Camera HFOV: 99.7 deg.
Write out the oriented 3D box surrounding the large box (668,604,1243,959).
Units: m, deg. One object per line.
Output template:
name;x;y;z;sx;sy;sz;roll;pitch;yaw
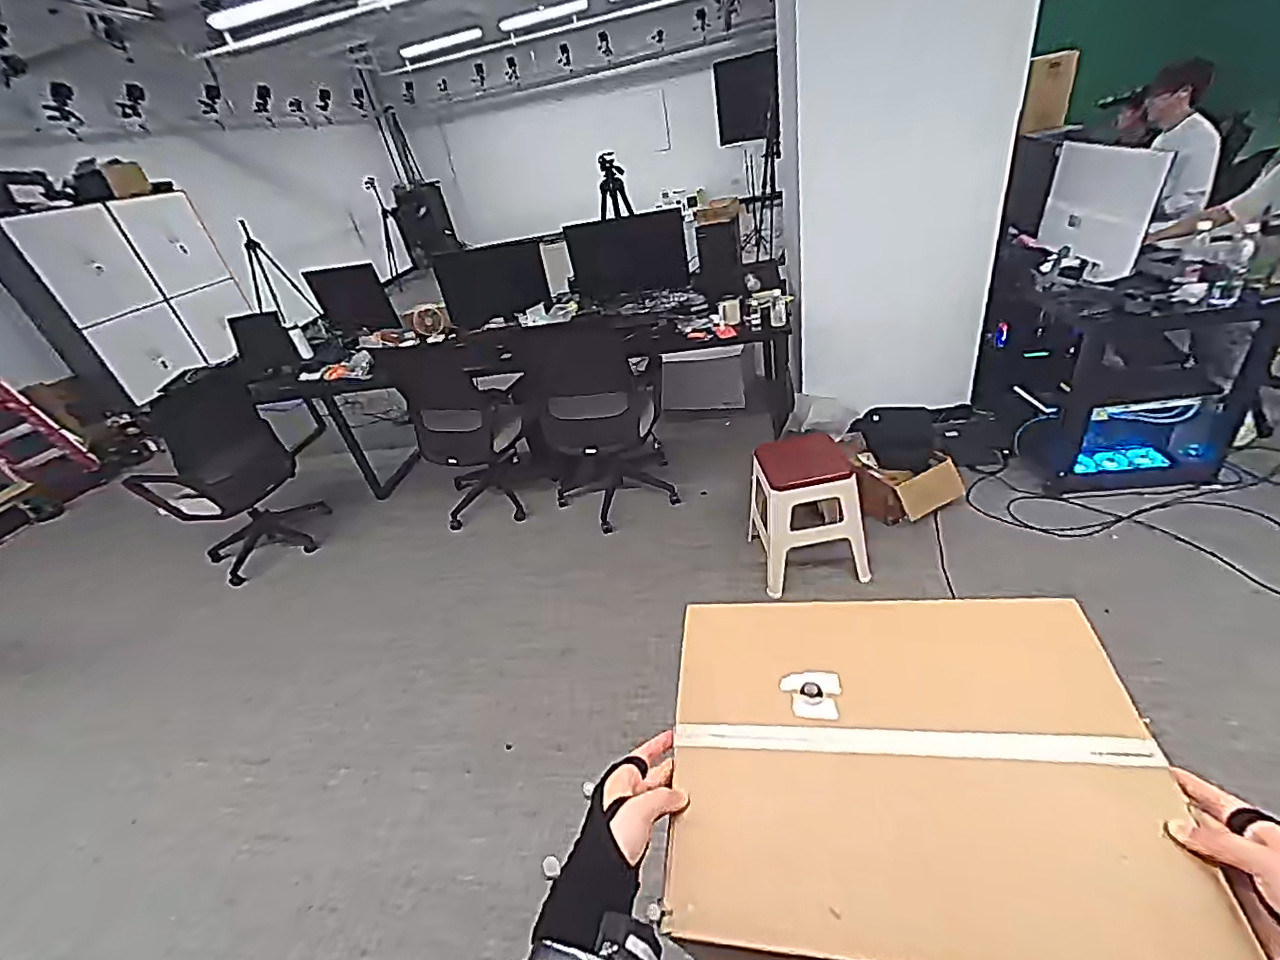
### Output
large box;0.267;0.362;0.602;0.408;0.320;0.320;-5;40;15
